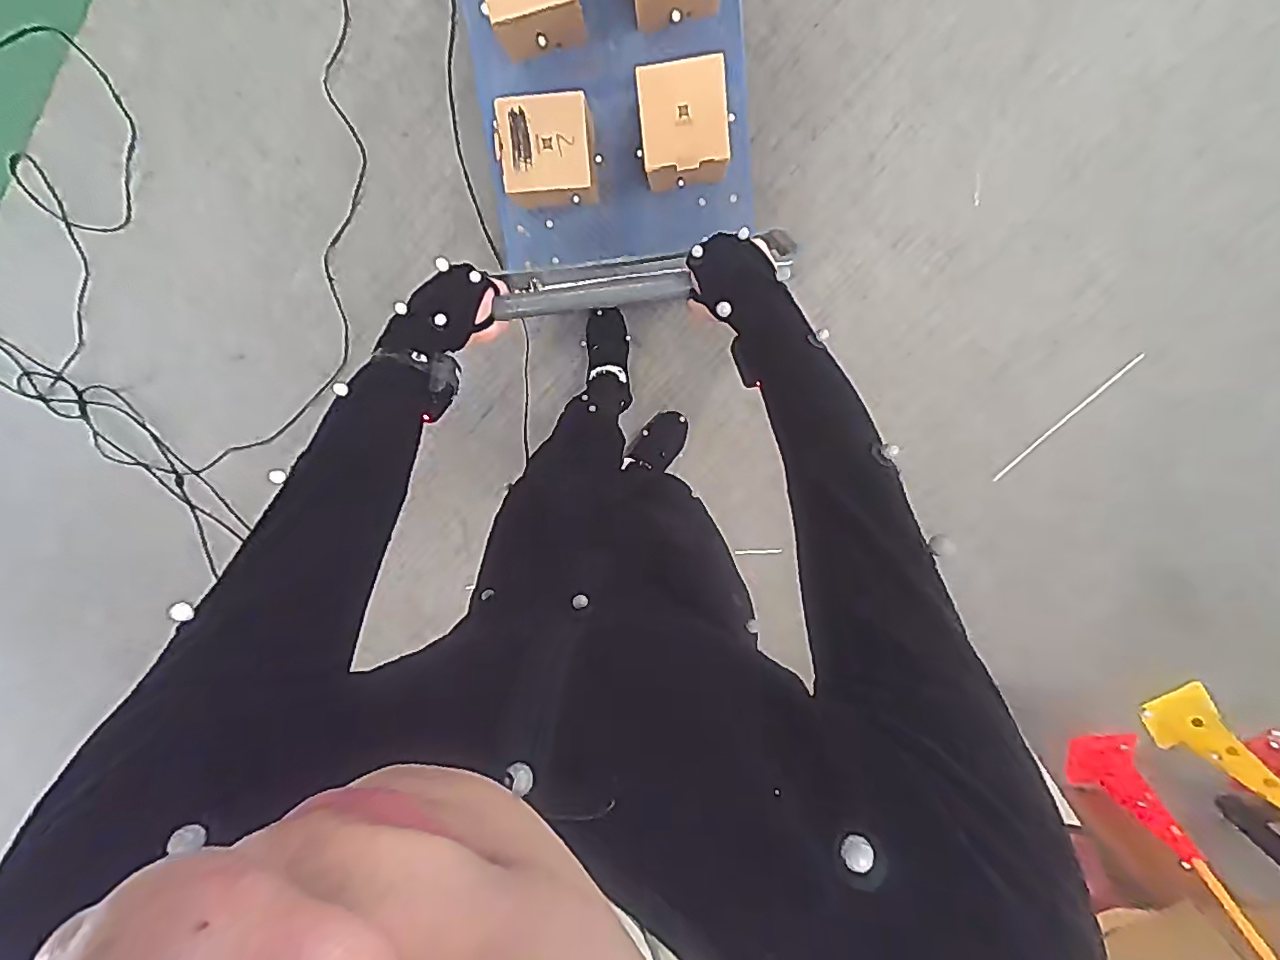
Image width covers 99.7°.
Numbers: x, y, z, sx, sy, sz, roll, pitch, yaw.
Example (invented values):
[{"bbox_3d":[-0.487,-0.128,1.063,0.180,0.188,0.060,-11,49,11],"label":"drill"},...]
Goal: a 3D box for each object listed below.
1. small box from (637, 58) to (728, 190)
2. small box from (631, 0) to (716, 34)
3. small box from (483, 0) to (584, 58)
[{"bbox_3d":[0.084,-0.711,1.100,0.168,0.176,0.179,-6,108,4],"label":"small box"},{"bbox_3d":[0.053,-0.993,1.012,0.168,0.176,0.179,-11,108,6],"label":"small box"},{"bbox_3d":[-0.212,-0.951,1.035,0.168,0.176,0.179,-11,107,5],"label":"small box"}]
